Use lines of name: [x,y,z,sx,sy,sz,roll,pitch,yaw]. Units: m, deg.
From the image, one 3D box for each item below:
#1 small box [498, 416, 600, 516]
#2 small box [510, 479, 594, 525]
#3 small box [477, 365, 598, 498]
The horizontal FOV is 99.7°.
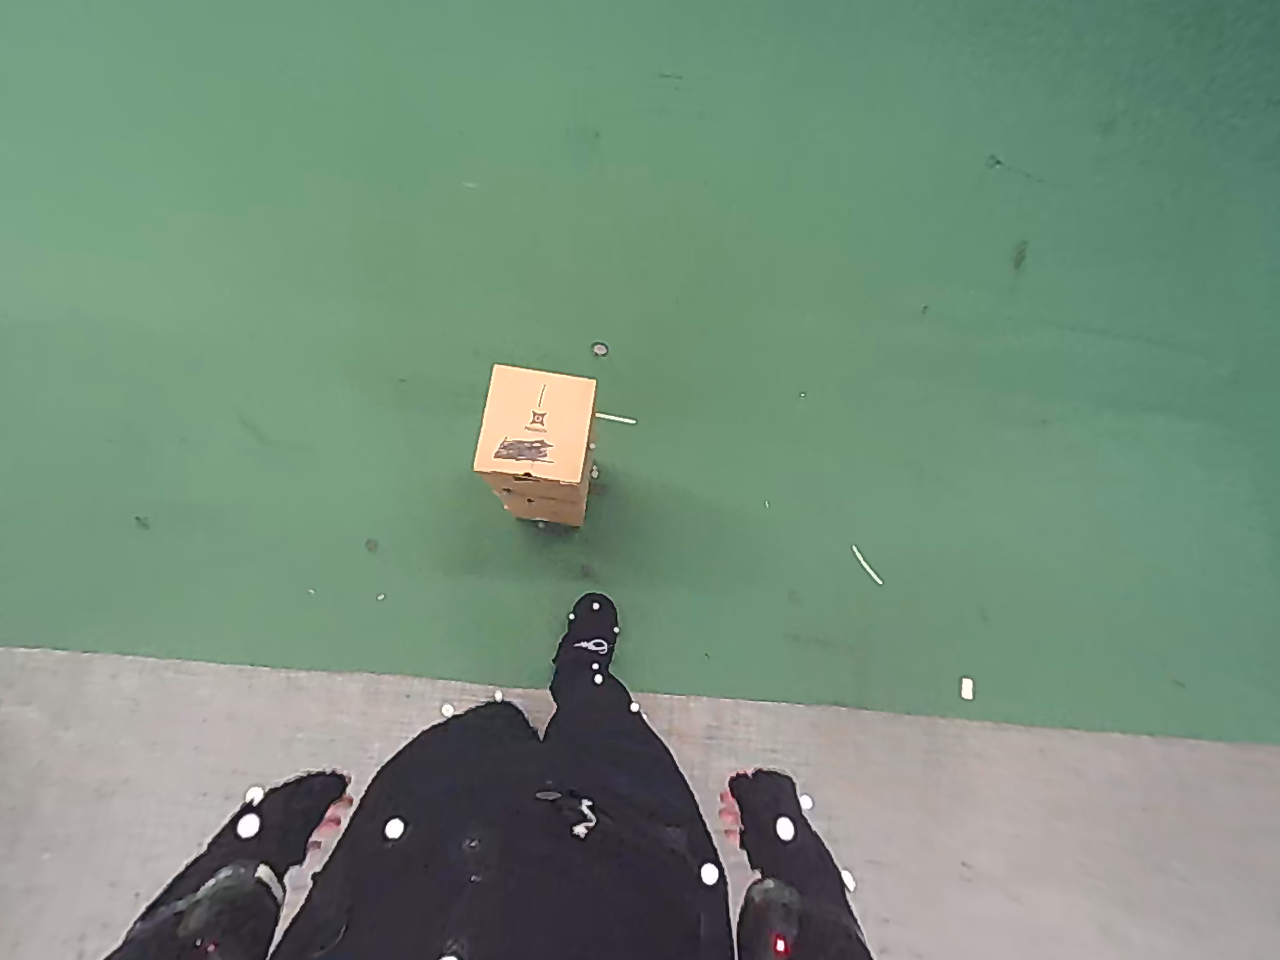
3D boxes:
small box: [-0.175,-0.034,1.084,0.168,0.176,0.179,8,78,-3]
small box: [-0.193,0.001,1.244,0.168,0.176,0.179,7,80,-3]
small box: [-0.164,-0.073,0.924,0.168,0.176,0.179,8,77,-3]
